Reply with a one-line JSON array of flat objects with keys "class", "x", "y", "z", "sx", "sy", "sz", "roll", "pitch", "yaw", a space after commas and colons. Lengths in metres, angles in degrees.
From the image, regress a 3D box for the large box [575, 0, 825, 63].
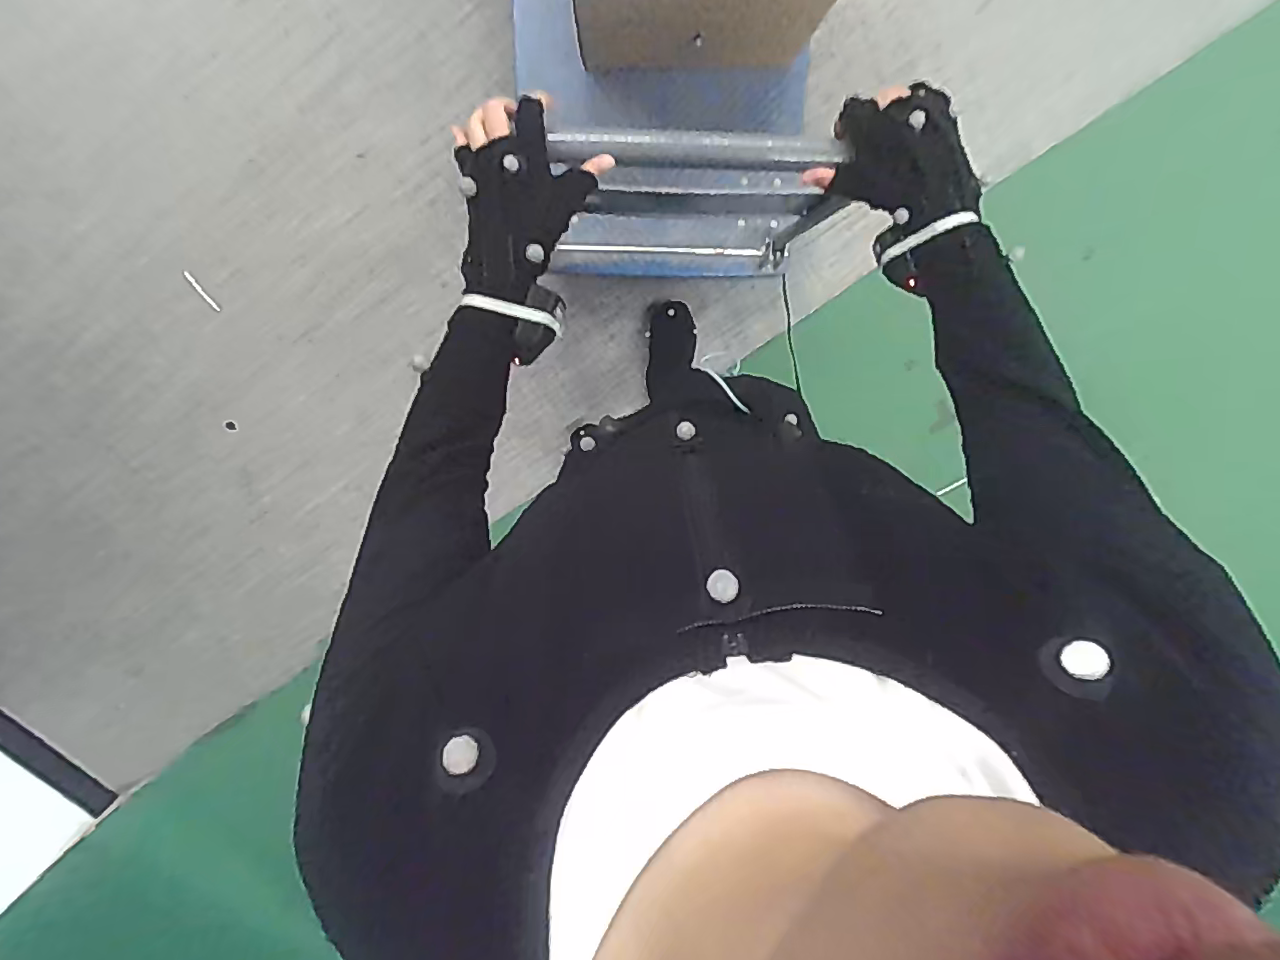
[{"class": "large box", "x": 0.094, "y": -0.913, "z": 0.865, "sx": 0.408, "sy": 0.320, "sz": 0.320, "roll": -1, "pitch": 107, "yaw": 0}]
